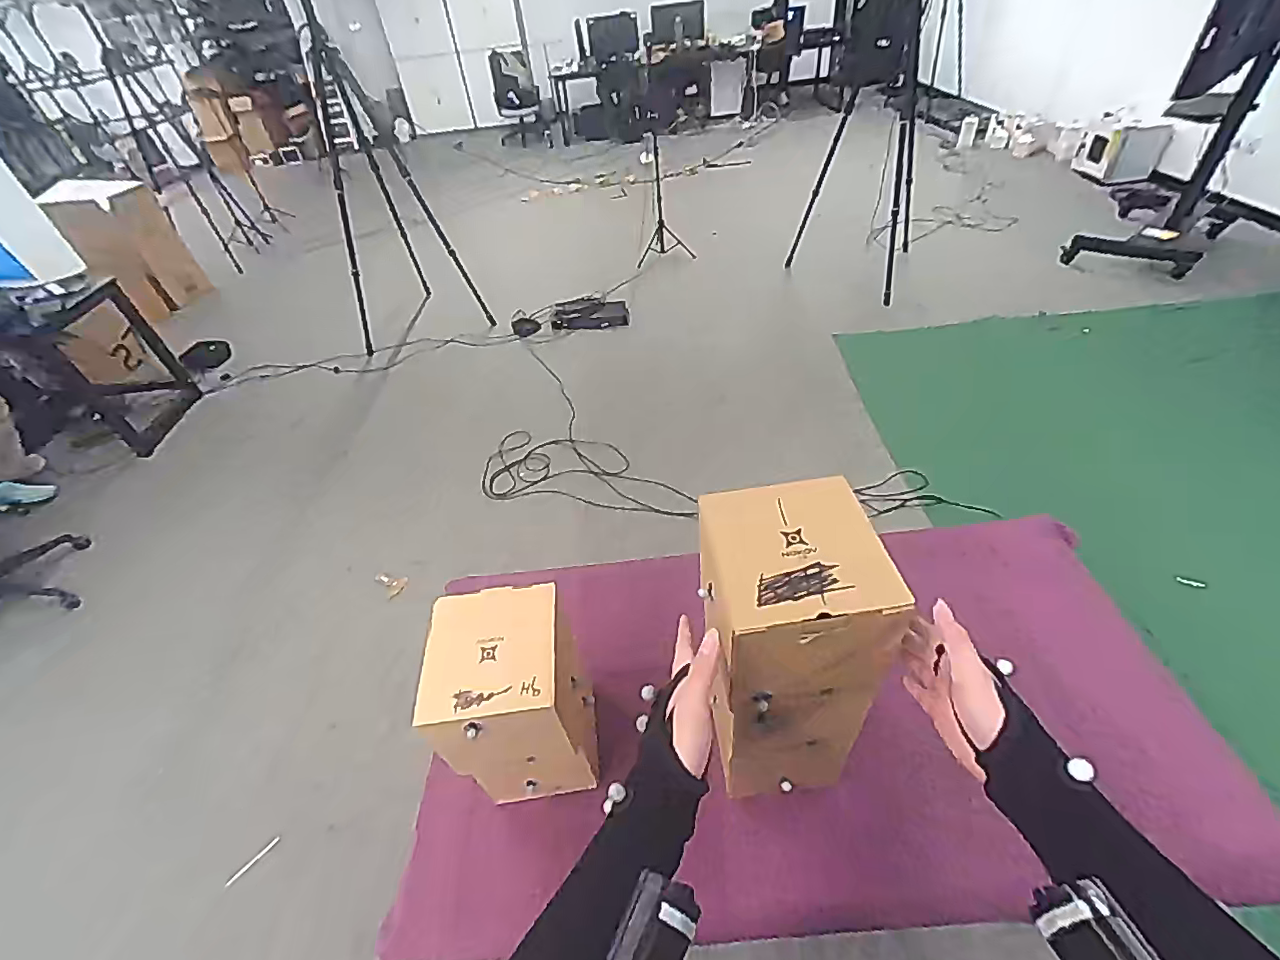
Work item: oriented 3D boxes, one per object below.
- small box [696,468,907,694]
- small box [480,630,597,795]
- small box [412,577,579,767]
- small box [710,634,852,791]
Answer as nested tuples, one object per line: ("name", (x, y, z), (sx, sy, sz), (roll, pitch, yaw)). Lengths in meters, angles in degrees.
("small box", (0.158, 0.114, 0.587), (0.168, 0.176, 0.179), (-8, 42, 0))
("small box", (-0.164, 0.366, 0.852), (0.168, 0.176, 0.179), (-9, 44, -2))
("small box", (-0.179, 0.258, 0.729), (0.168, 0.176, 0.179), (-8, 44, 0))
("small box", (0.198, 0.343, 0.820), (0.168, 0.176, 0.179), (-8, 44, 1))
